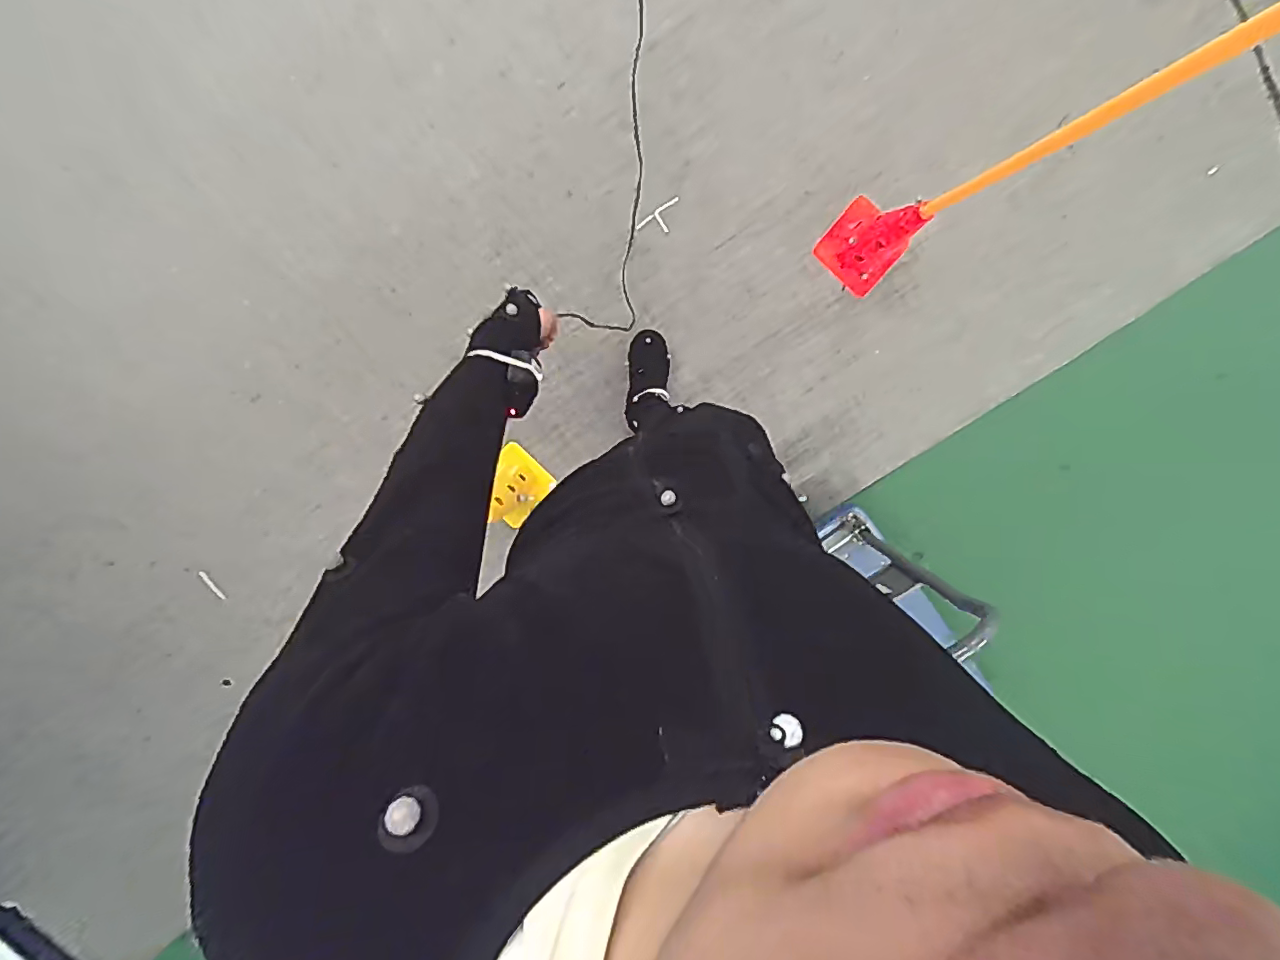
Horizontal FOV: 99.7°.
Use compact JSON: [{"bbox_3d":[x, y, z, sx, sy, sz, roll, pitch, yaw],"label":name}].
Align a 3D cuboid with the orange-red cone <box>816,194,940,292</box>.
[{"bbox_3d":[0.609,-0.610,1.305,0.198,0.360,0.199,40,97,-8],"label":"orange-red cone"}]
